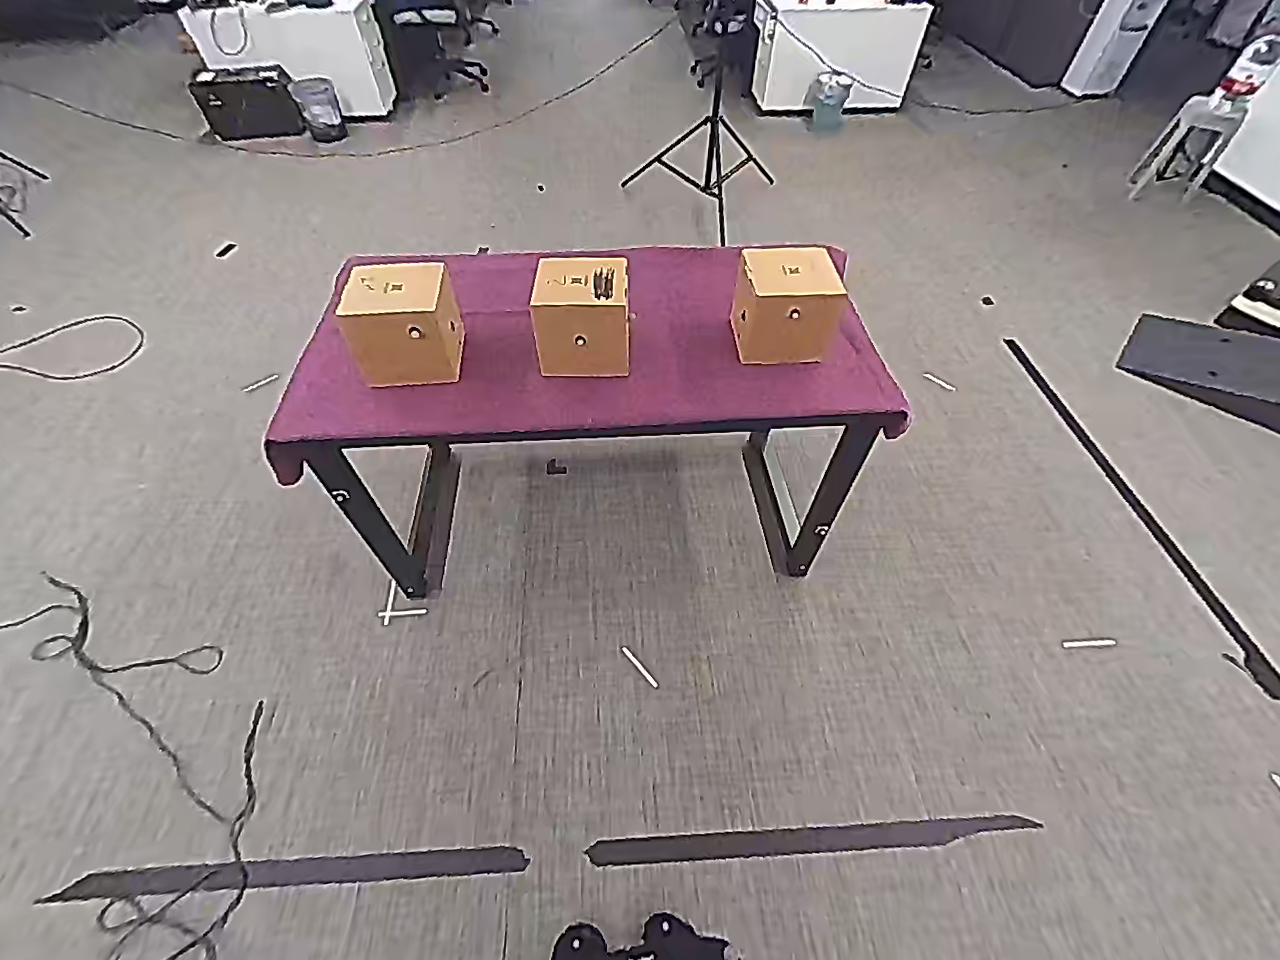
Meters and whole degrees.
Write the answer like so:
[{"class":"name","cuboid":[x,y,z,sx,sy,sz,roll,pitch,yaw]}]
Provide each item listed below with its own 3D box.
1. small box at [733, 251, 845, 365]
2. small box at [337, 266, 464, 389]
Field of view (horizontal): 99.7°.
[{"class":"small box","cuboid":[0.294,-0.352,1.117,0.179,0.176,0.168,-2,52,-3]},{"class":"small box","cuboid":[-0.455,-0.297,1.062,0.179,0.176,0.168,-5,51,-5]}]
